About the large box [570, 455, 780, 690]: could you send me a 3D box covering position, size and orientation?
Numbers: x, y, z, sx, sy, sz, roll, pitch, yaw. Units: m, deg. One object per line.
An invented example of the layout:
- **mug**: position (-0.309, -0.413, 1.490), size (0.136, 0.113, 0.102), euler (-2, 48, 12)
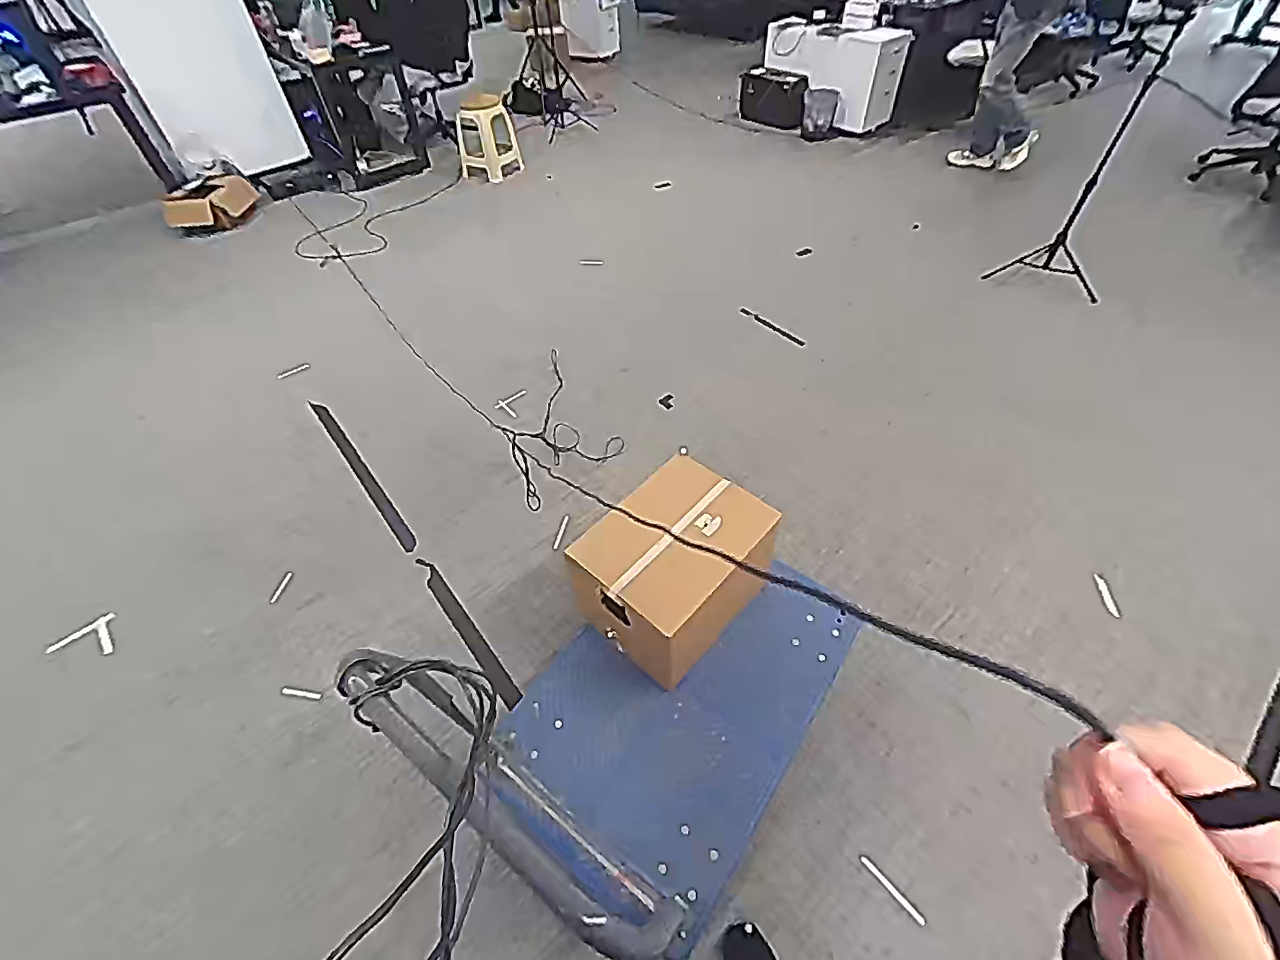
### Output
- **large box**: position (0.088, 0.220, 1.329), size (0.320, 0.320, 0.408), euler (34, 58, 27)
